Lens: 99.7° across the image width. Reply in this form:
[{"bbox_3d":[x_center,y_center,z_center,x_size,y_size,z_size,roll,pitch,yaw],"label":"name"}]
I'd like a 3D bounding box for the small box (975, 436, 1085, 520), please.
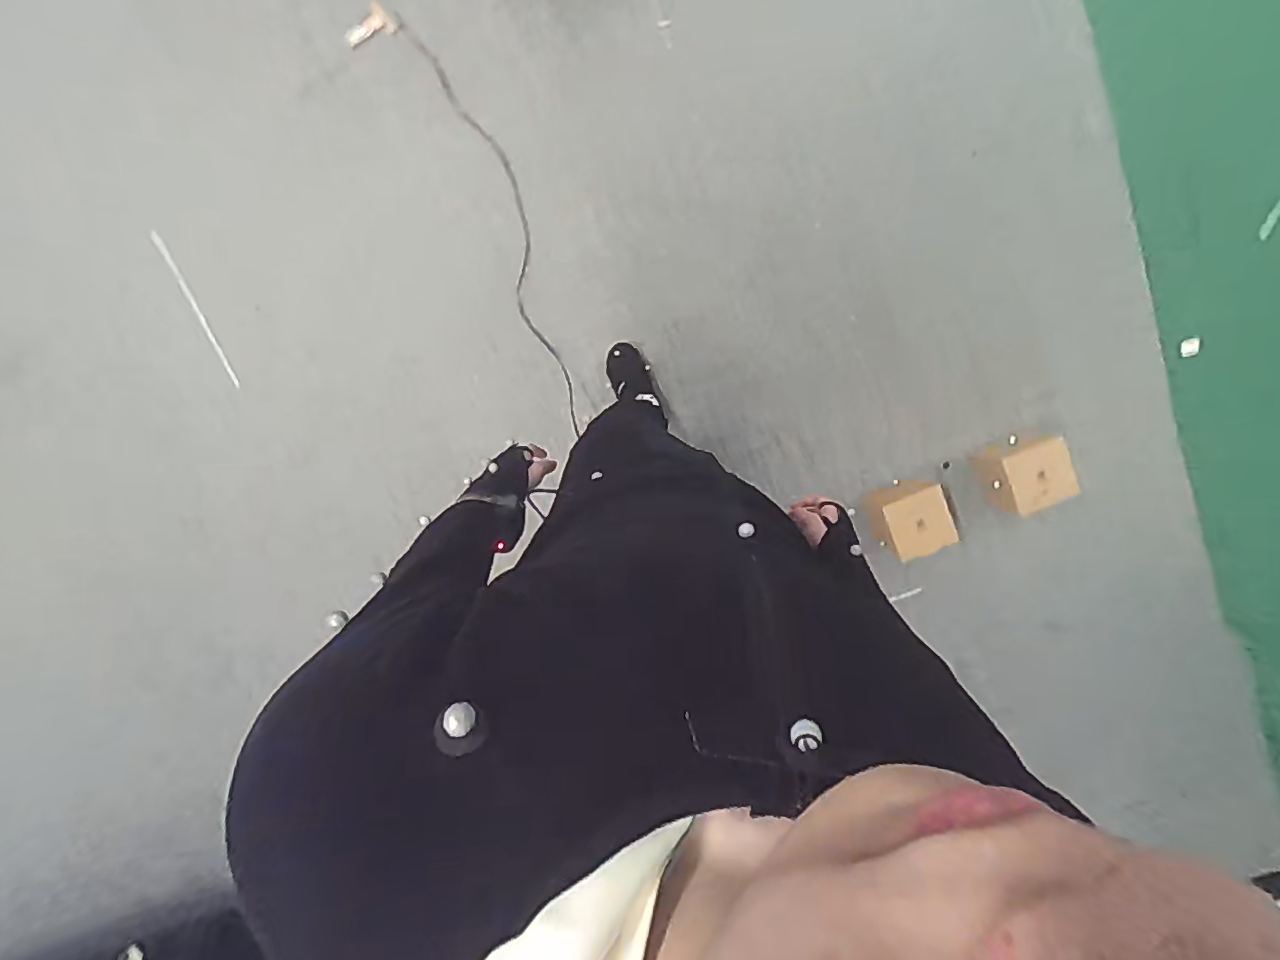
[{"bbox_3d":[1.066,-0.013,1.493,0.168,0.176,0.179,-22,99,7],"label":"small box"}]

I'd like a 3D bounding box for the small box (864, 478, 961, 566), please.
[{"bbox_3d":[0.765,0.113,1.531,0.168,0.176,0.179,-22,99,6],"label":"small box"}]
